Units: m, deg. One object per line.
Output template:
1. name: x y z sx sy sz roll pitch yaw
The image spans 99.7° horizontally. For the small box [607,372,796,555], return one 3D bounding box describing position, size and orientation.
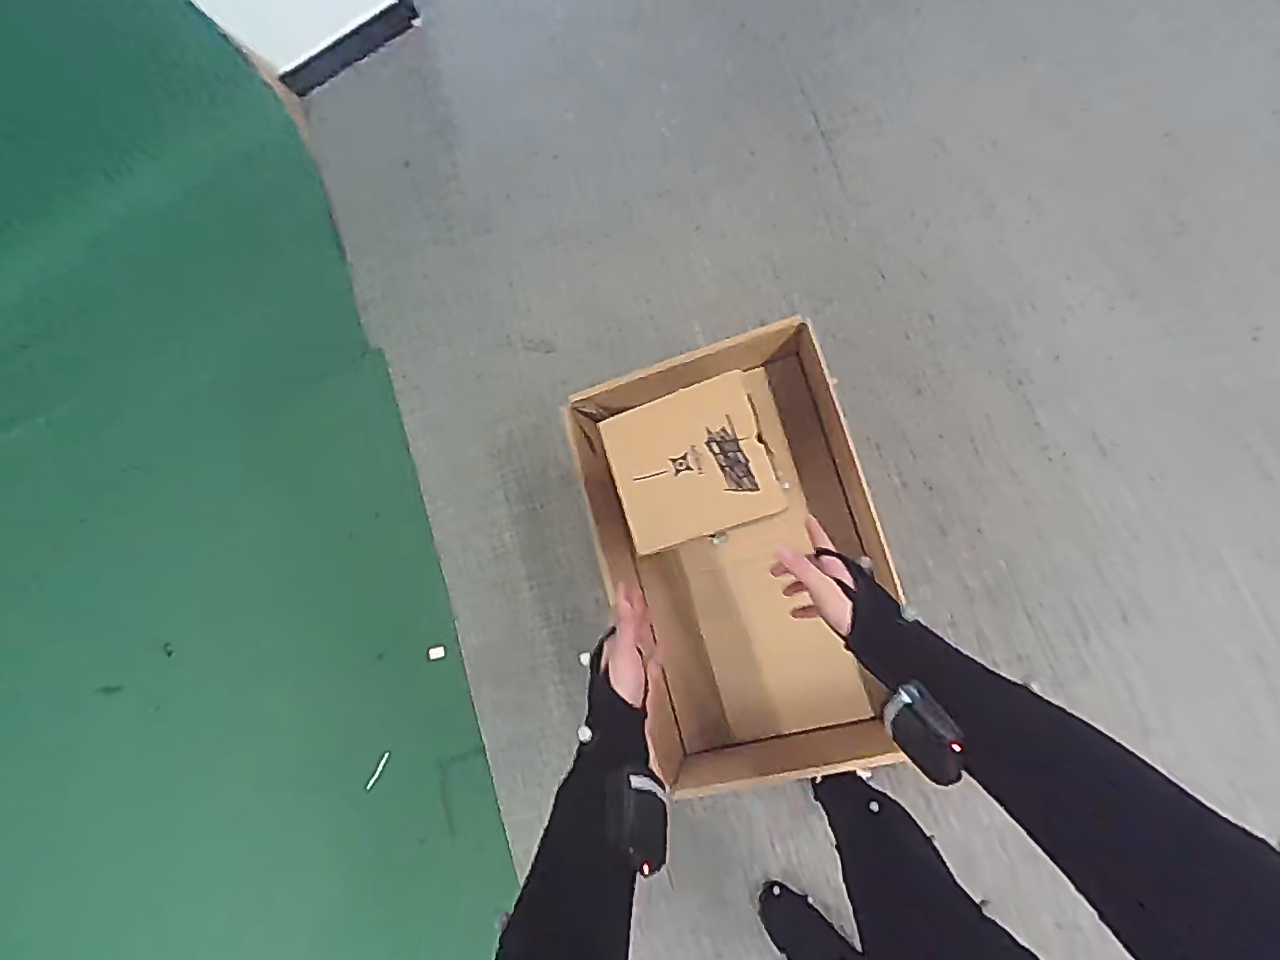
1. small box: 0.082 -0.012 0.676 0.179 0.176 0.168 -19 81 13
